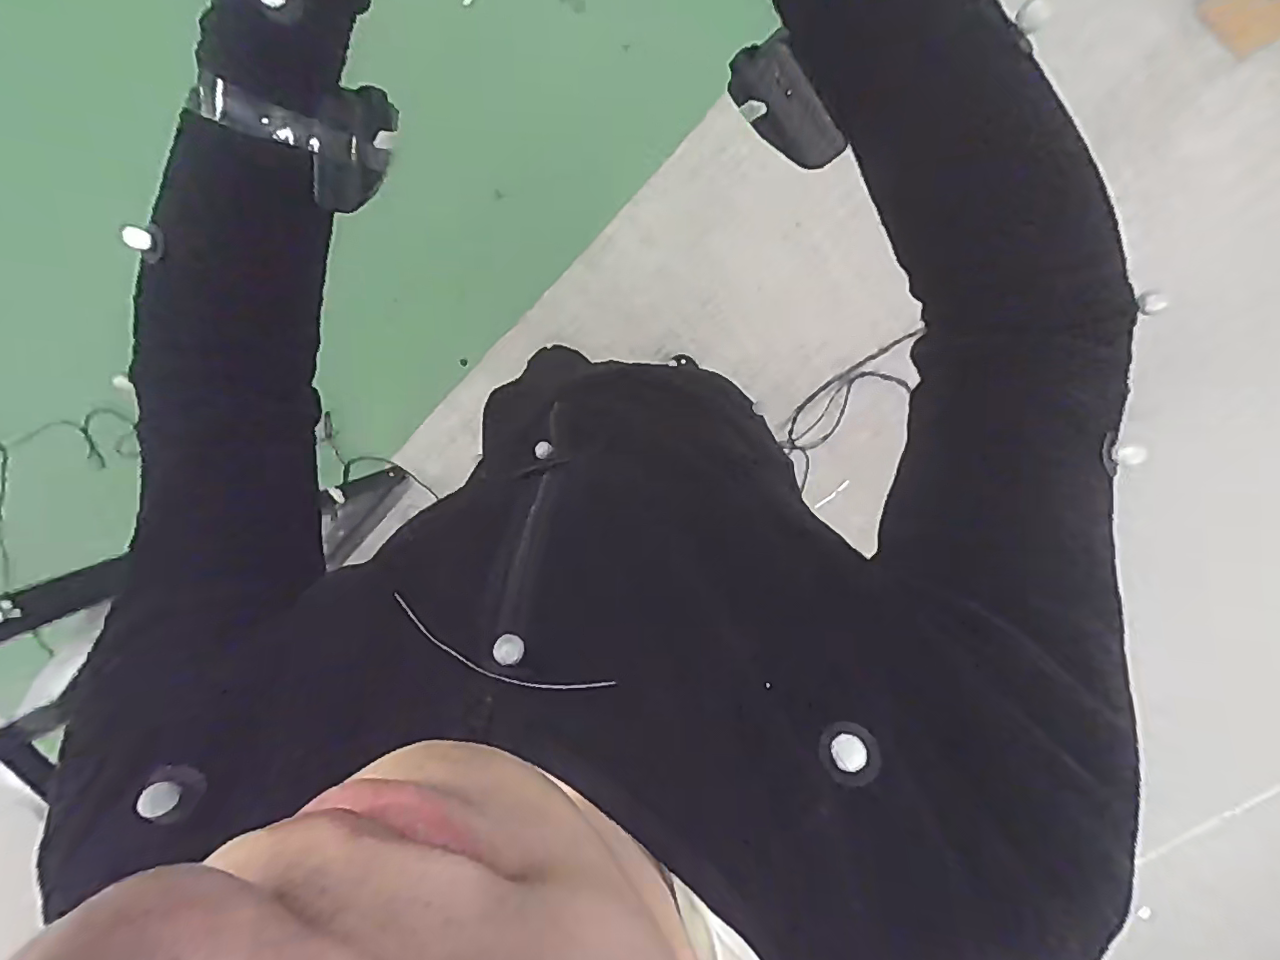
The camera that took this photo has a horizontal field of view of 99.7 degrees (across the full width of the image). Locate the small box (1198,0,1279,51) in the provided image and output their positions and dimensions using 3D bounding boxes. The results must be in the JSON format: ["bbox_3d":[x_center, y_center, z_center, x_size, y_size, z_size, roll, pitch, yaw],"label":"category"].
[{"bbox_3d":[1.351,-1.064,1.130,0.168,0.176,0.179,-43,94,14],"label":"small box"}]
